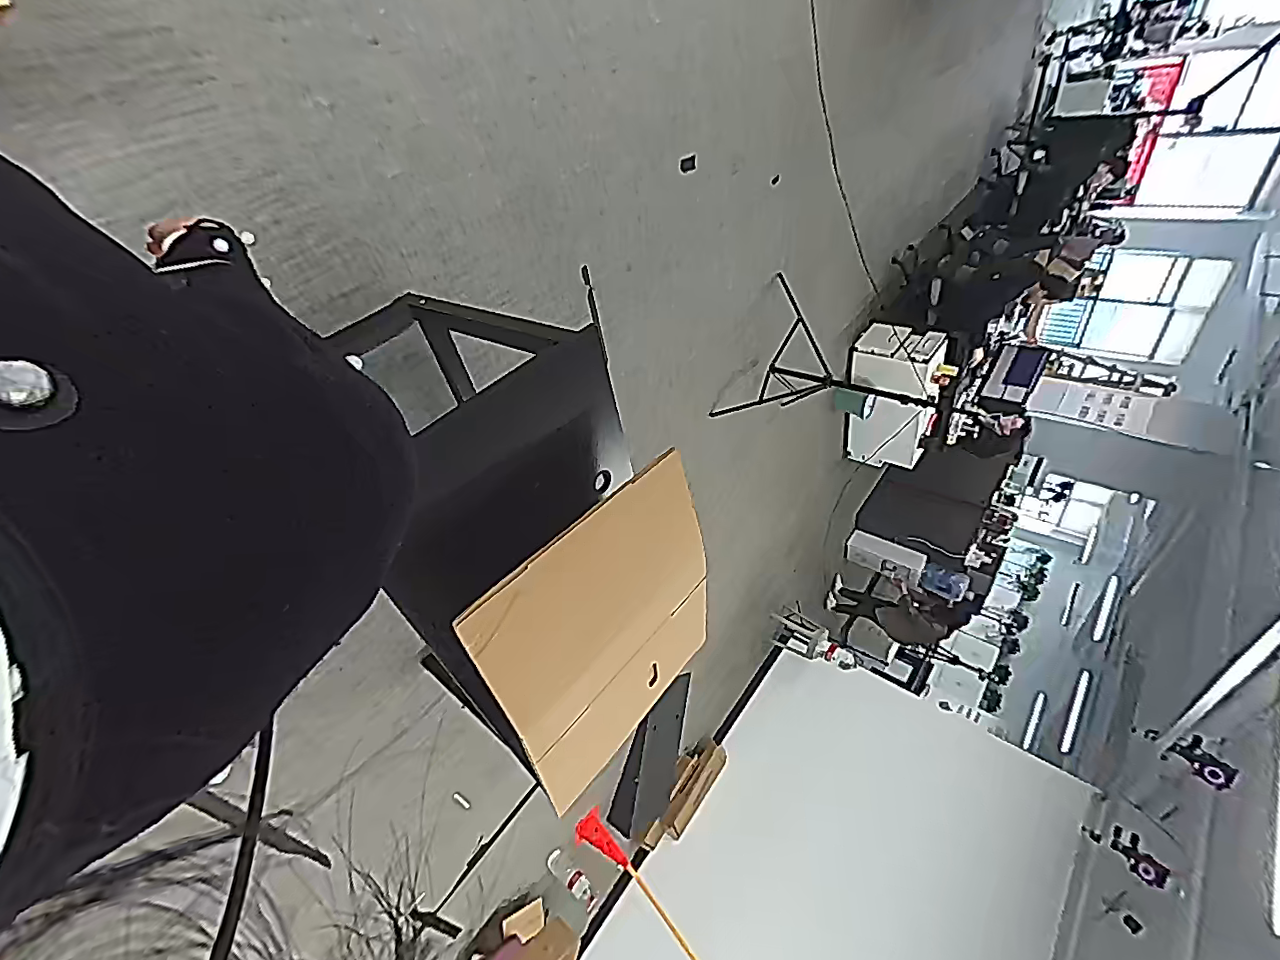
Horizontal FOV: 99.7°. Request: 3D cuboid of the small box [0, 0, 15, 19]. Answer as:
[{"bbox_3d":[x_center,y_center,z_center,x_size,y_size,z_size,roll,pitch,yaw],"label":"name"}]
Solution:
[{"bbox_3d":[-0.824,-0.576,0.552,0.179,0.176,0.168,-39,136,-36],"label":"small box"}]
